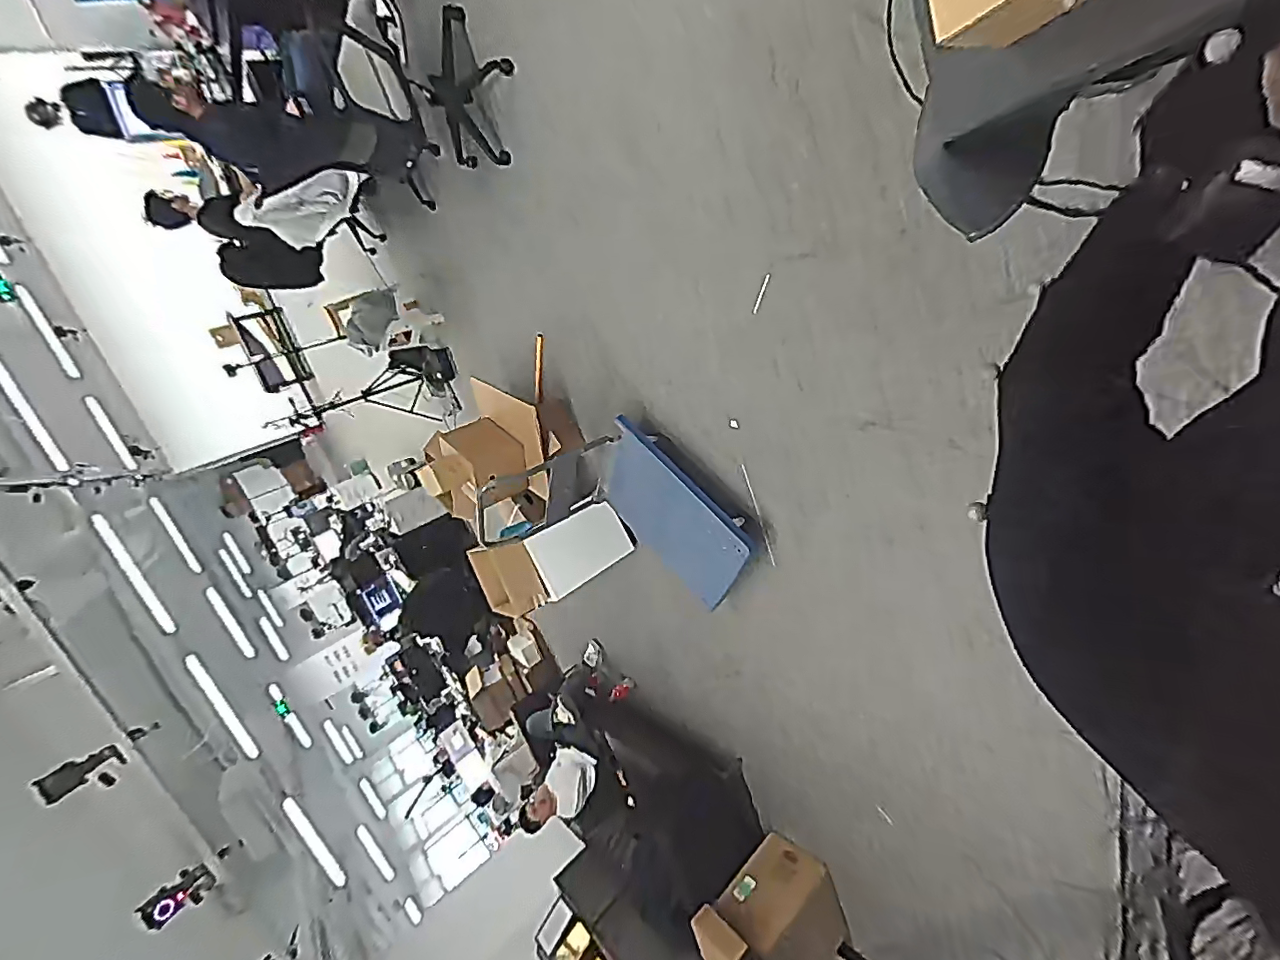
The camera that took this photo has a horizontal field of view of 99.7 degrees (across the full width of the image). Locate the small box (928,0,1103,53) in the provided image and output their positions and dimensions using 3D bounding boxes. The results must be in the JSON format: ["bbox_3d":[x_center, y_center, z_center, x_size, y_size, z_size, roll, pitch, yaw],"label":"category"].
[{"bbox_3d":[0.353,-0.495,0.445,0.179,0.176,0.168,0,114,54],"label":"small box"}]
